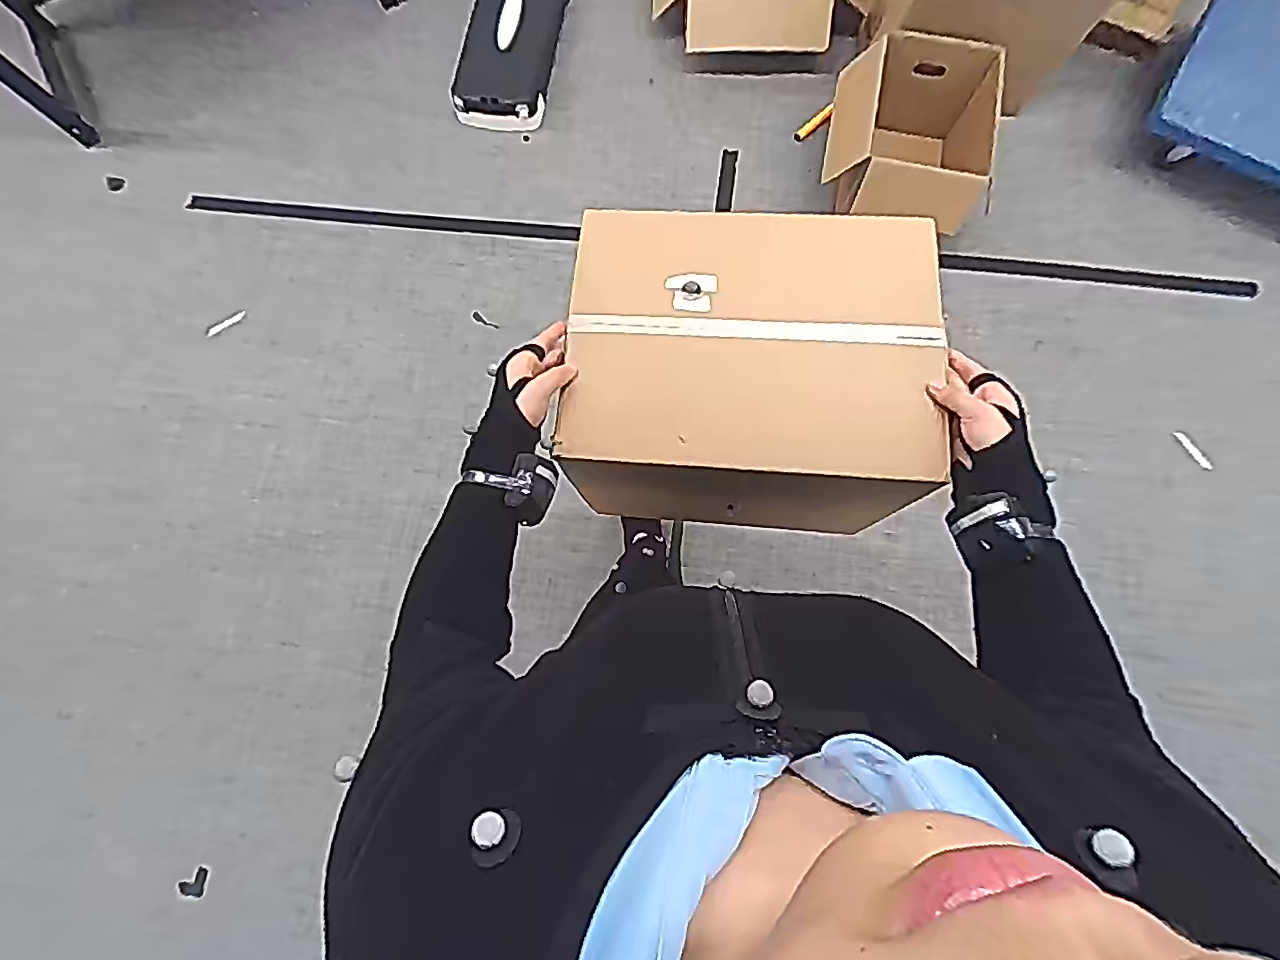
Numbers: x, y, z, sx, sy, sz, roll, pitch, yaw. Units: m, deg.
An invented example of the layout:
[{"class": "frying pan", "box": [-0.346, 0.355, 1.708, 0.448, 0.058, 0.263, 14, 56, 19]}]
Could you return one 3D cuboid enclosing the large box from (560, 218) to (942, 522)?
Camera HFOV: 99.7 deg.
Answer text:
[{"class": "large box", "box": [0.133, -0.124, 0.747, 0.408, 0.320, 0.320, 3, 74, 6]}]
